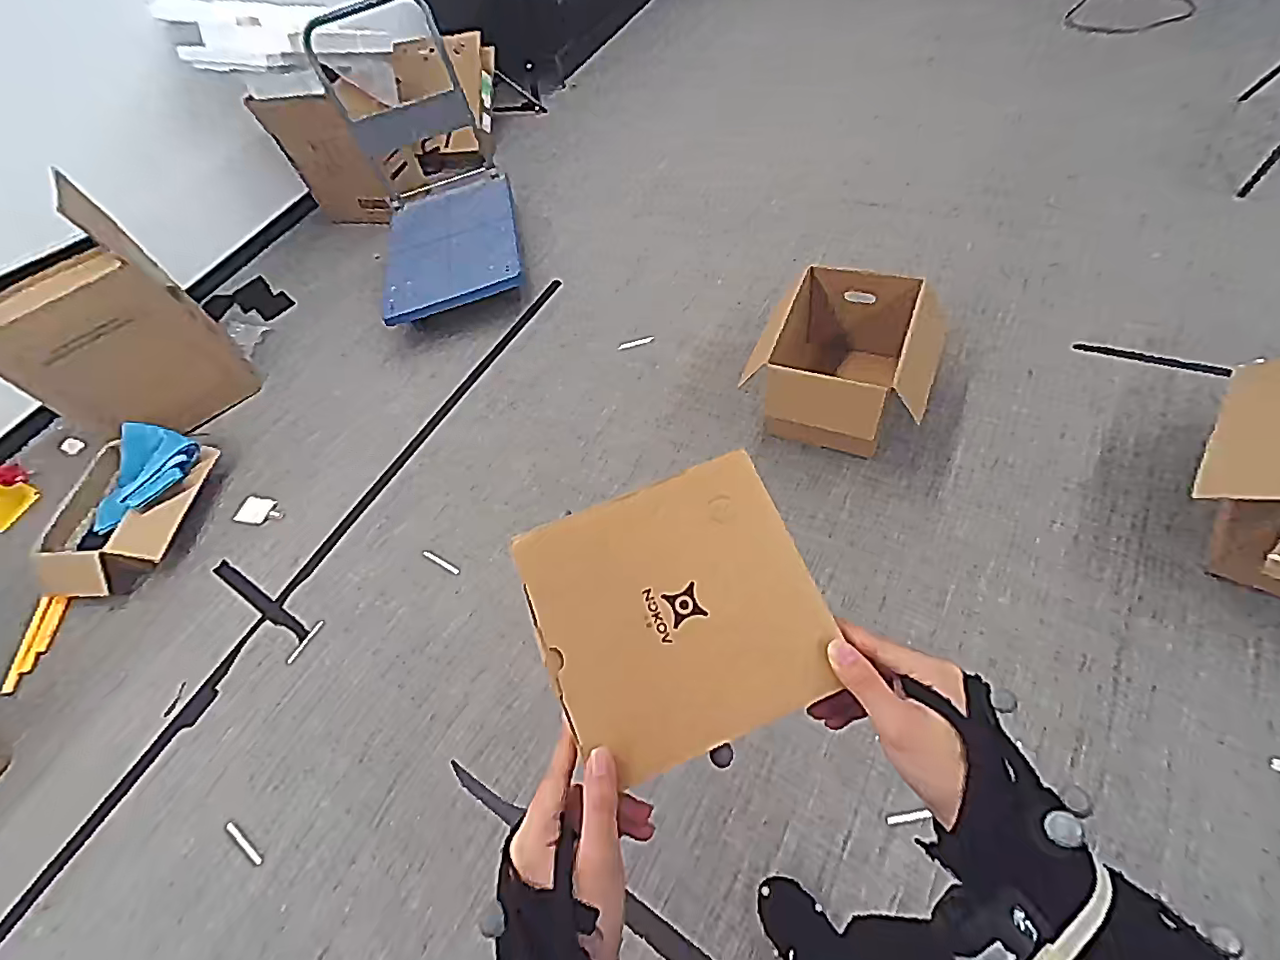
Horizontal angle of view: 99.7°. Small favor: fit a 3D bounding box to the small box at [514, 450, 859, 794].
[{"bbox_3d":[0.027,0.104,0.416,0.179,0.176,0.168,-22,71,-5],"label":"small box"}]
